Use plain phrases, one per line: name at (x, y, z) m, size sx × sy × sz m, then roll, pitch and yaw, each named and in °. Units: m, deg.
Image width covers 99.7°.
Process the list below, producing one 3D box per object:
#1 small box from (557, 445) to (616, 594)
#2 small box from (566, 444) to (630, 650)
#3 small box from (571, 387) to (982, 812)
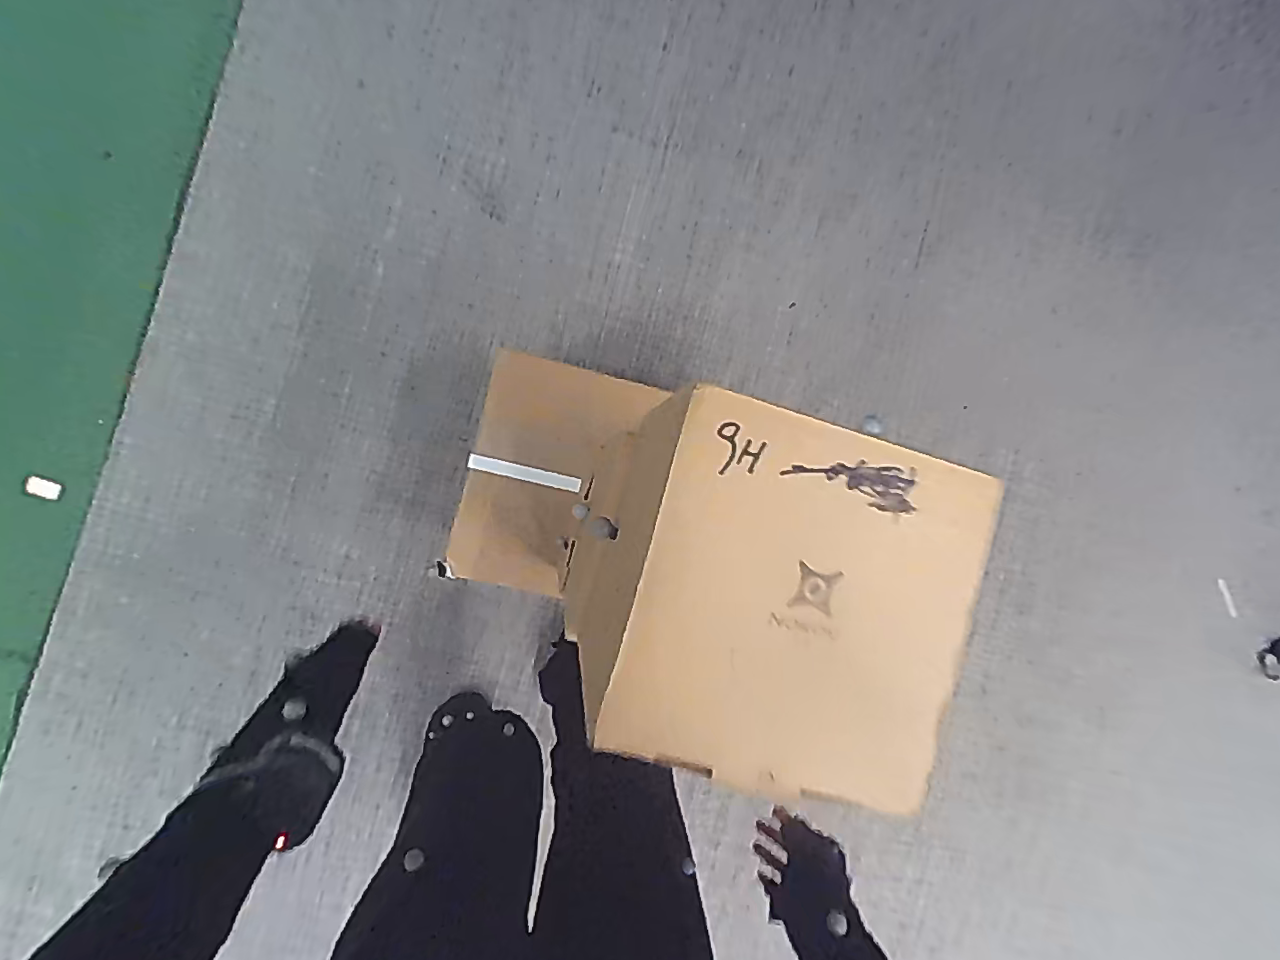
small box at (0.003, 0.062, 0.663) m, size 0.179 × 0.176 × 0.168 m, roll 15°, pitch 90°, yaw -9°
small box at (0.035, 0.066, 0.502) m, size 0.179 × 0.176 × 0.168 m, roll 14°, pitch 90°, yaw -9°
small box at (0.061, 0.059, 0.340) m, size 0.168 × 0.176 × 0.179 m, roll 17°, pitch 90°, yaw -8°
